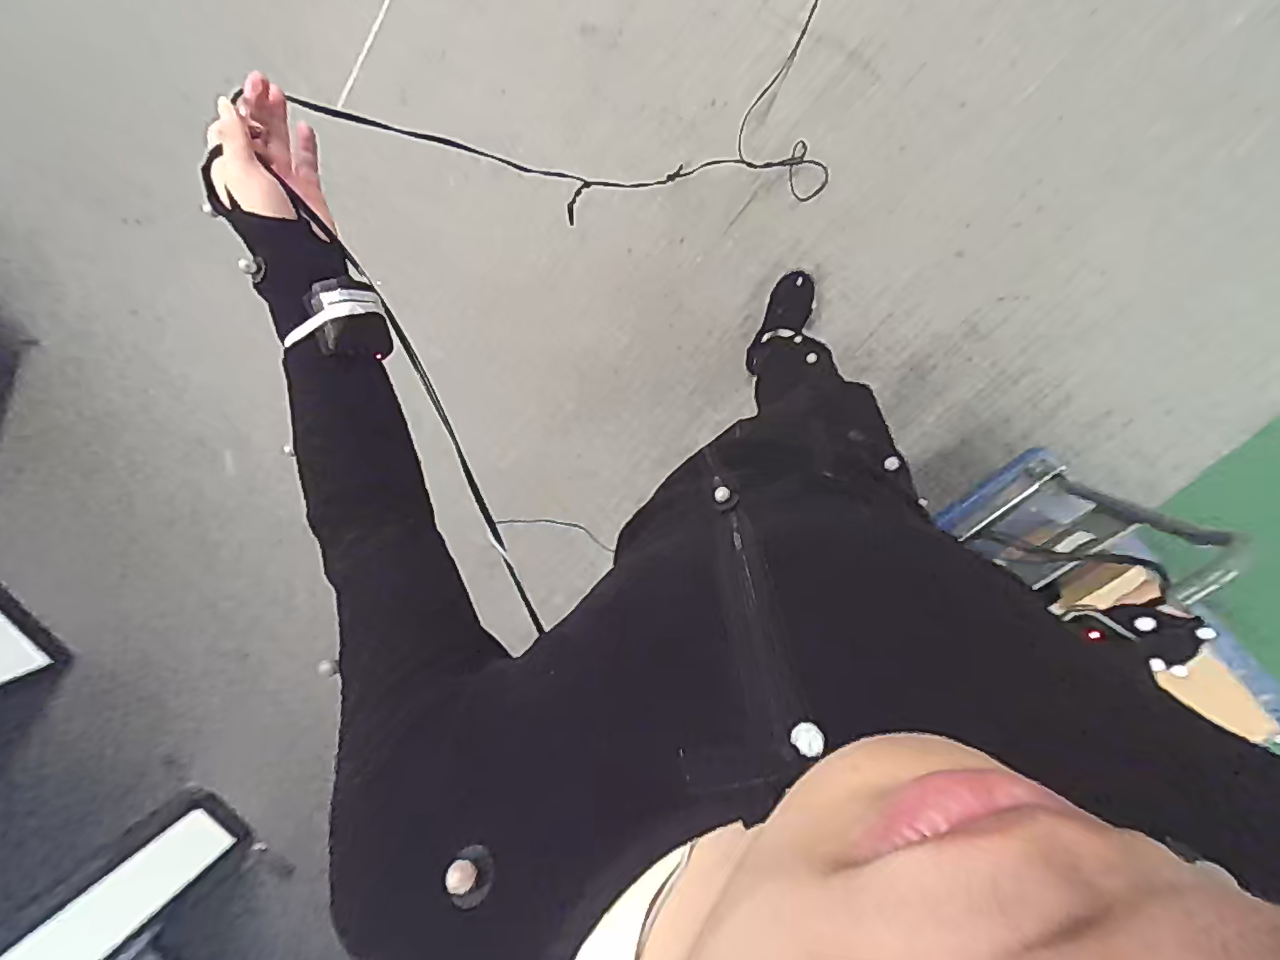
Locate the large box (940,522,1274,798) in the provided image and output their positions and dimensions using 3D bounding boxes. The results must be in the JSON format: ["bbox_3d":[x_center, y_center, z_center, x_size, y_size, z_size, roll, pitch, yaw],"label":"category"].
[{"bbox_3d":[0.955,0.364,1.176,0.320,0.320,0.408,-41,90,18],"label":"large box"}]
